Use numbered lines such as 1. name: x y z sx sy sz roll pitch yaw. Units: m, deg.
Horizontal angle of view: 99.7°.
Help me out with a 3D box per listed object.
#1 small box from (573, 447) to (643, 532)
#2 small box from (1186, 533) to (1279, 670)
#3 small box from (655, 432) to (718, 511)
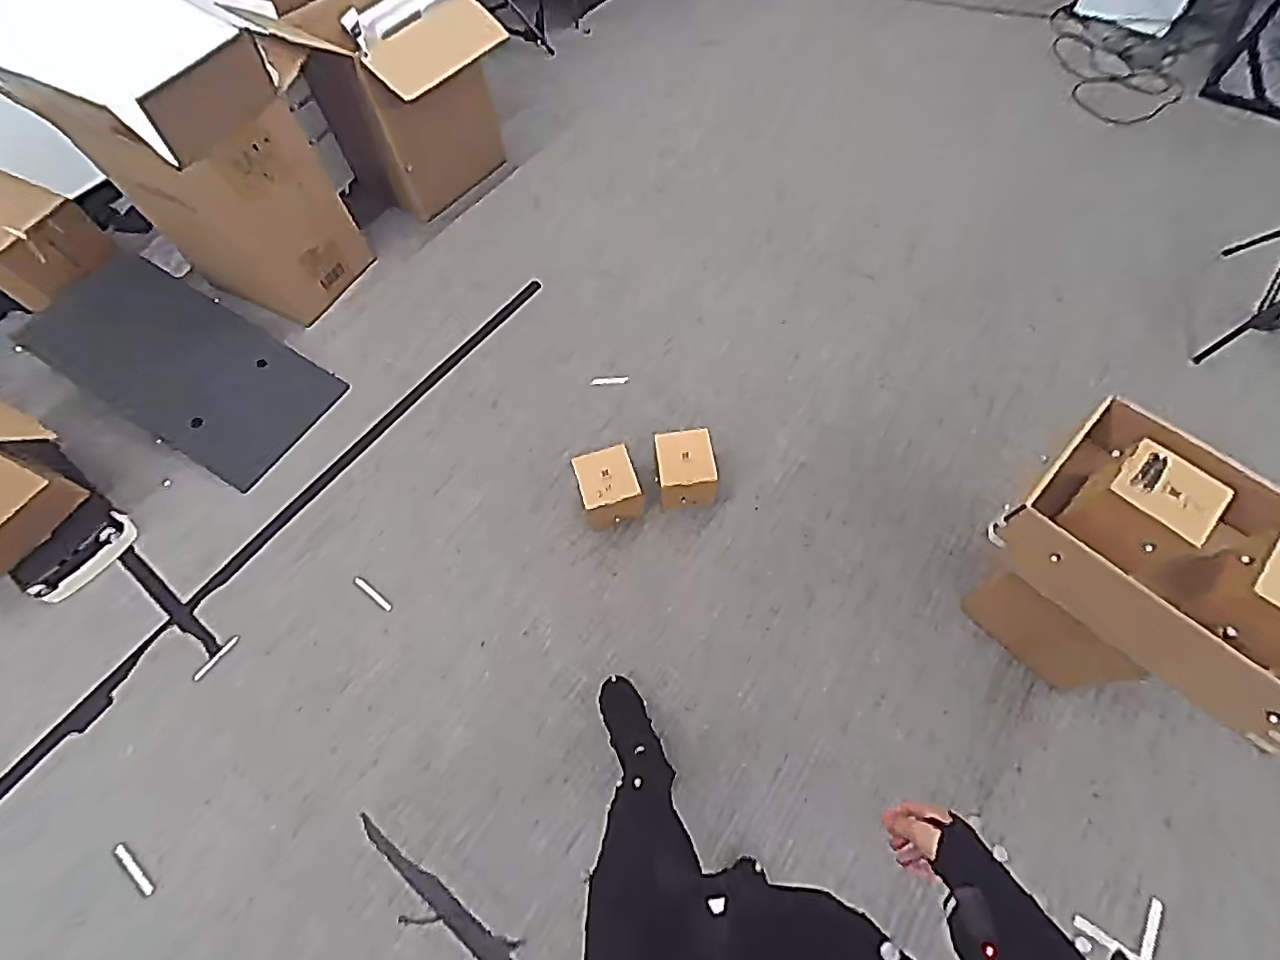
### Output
1. small box: -0.094 0.031 1.634 0.168 0.176 0.179 -17 64 -5
2. small box: 1.199 0.225 1.014 0.179 0.176 0.168 -41 67 -20
3. small box: 0.136 -0.024 1.656 0.168 0.176 0.179 -7 64 -2
